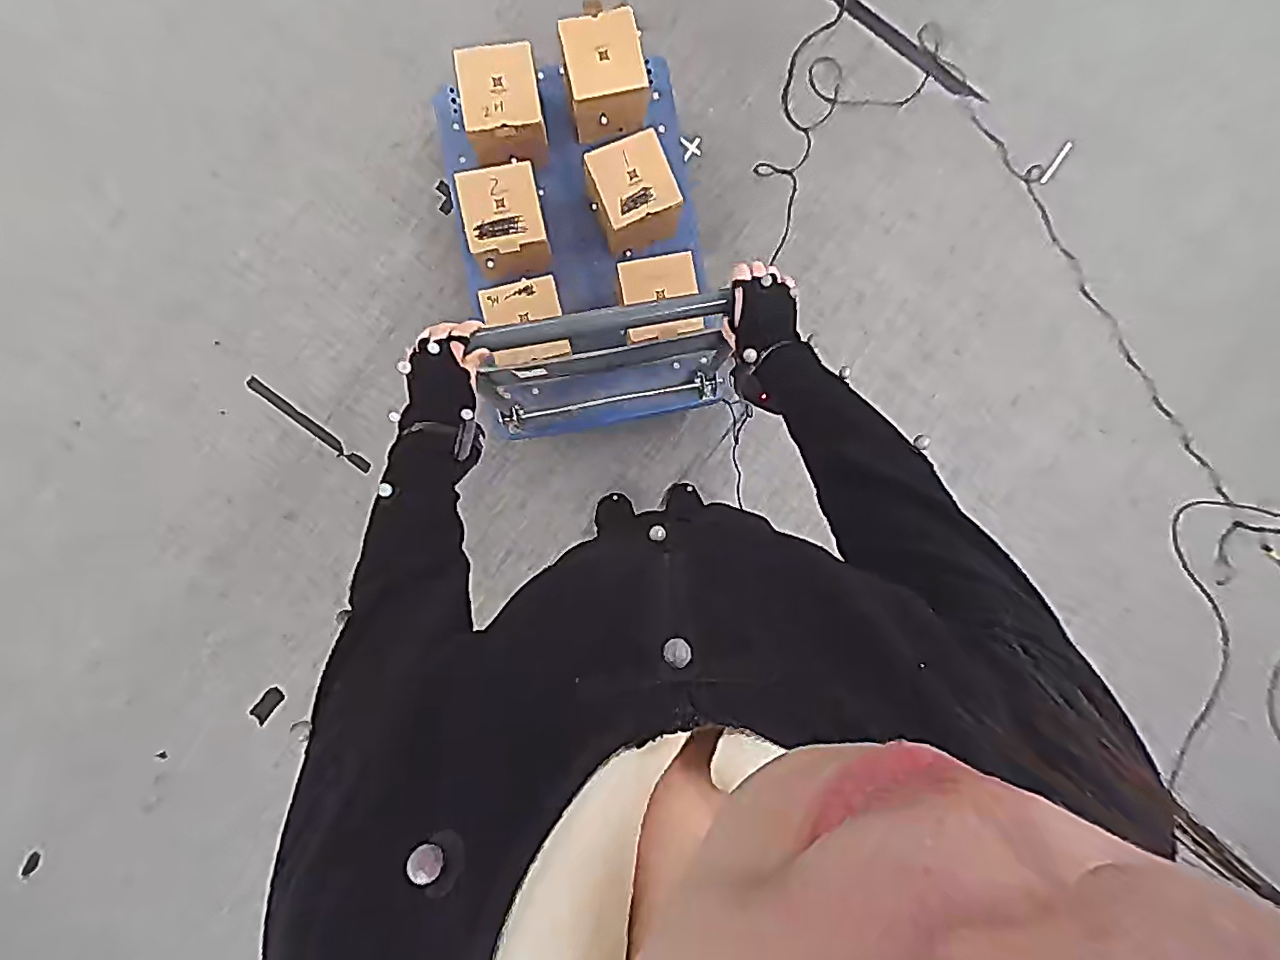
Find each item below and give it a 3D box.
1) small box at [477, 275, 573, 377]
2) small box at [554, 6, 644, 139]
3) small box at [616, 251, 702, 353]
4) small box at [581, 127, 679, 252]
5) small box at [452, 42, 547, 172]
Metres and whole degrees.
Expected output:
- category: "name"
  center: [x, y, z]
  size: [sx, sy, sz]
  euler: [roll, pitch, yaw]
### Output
- category: "small box"
  center: [-0.253, -0.340, 1.235]
  size: [0.168, 0.176, 0.179]
  euler: [-14, 92, -4]
- category: "small box"
  center: [-0.089, -0.915, 1.236]
  size: [0.168, 0.176, 0.179]
  euler: [-14, 91, -3]
- category: "small box"
  center: [0.038, -0.400, 1.250]
  size: [0.168, 0.176, 0.179]
  euler: [-10, 91, -3]
- category: "small box"
  center: [-0.022, -0.651, 1.242]
  size: [0.168, 0.176, 0.179]
  euler: [-24, 90, -2]
- category: "small box"
  center: [-0.310, -0.835, 1.224]
  size: [0.168, 0.176, 0.179]
  euler: [-9, 92, -3]
